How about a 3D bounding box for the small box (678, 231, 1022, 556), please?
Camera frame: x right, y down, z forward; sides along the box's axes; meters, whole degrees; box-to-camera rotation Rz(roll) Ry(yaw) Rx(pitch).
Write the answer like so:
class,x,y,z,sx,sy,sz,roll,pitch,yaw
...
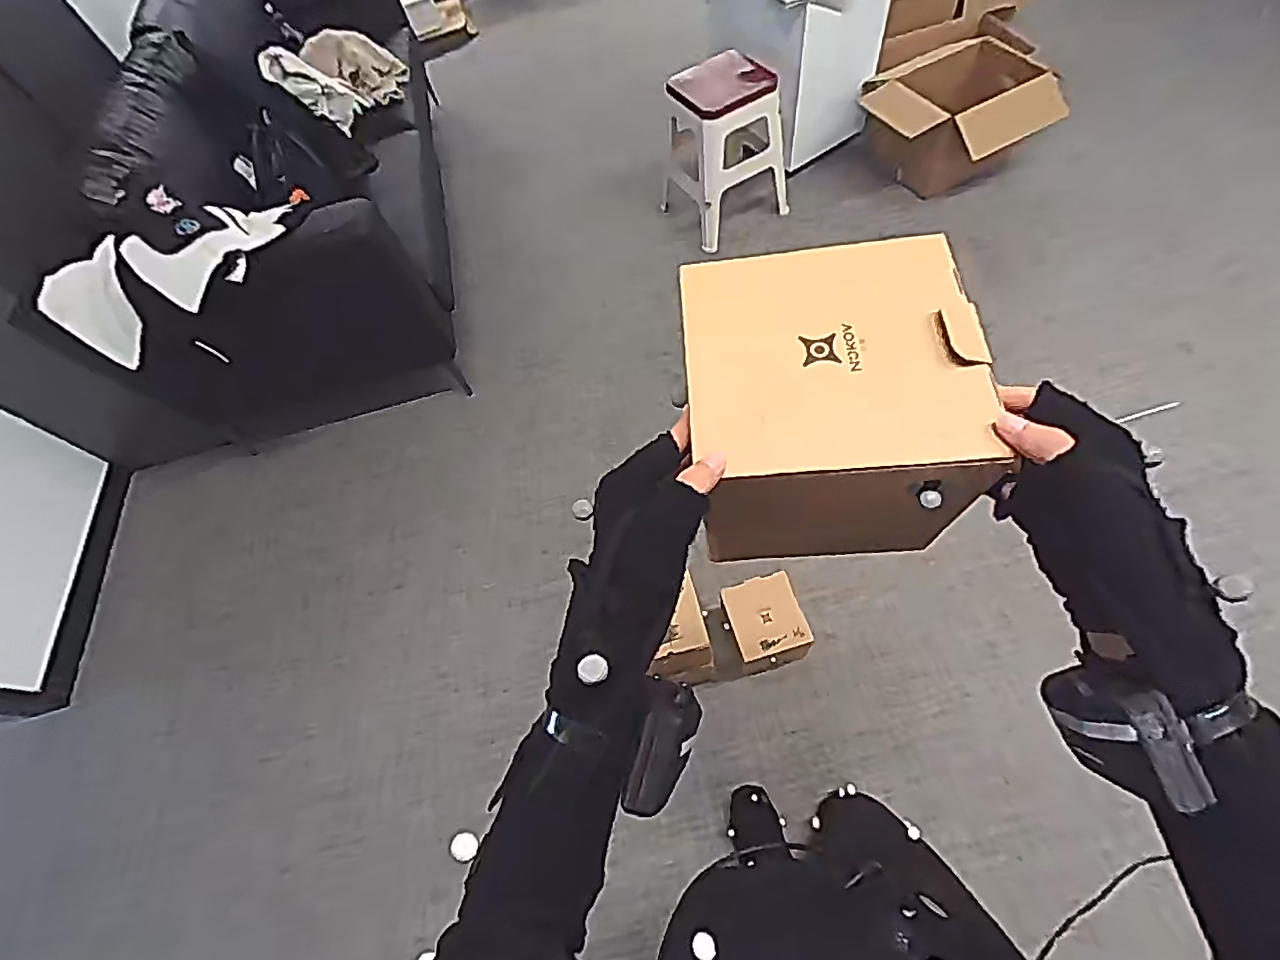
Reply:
class,x,y,z,sx,sy,sz,roll,pitch,yaw
small box,0.126,-0.047,0.399,0.179,0.176,0.168,-5,65,6
